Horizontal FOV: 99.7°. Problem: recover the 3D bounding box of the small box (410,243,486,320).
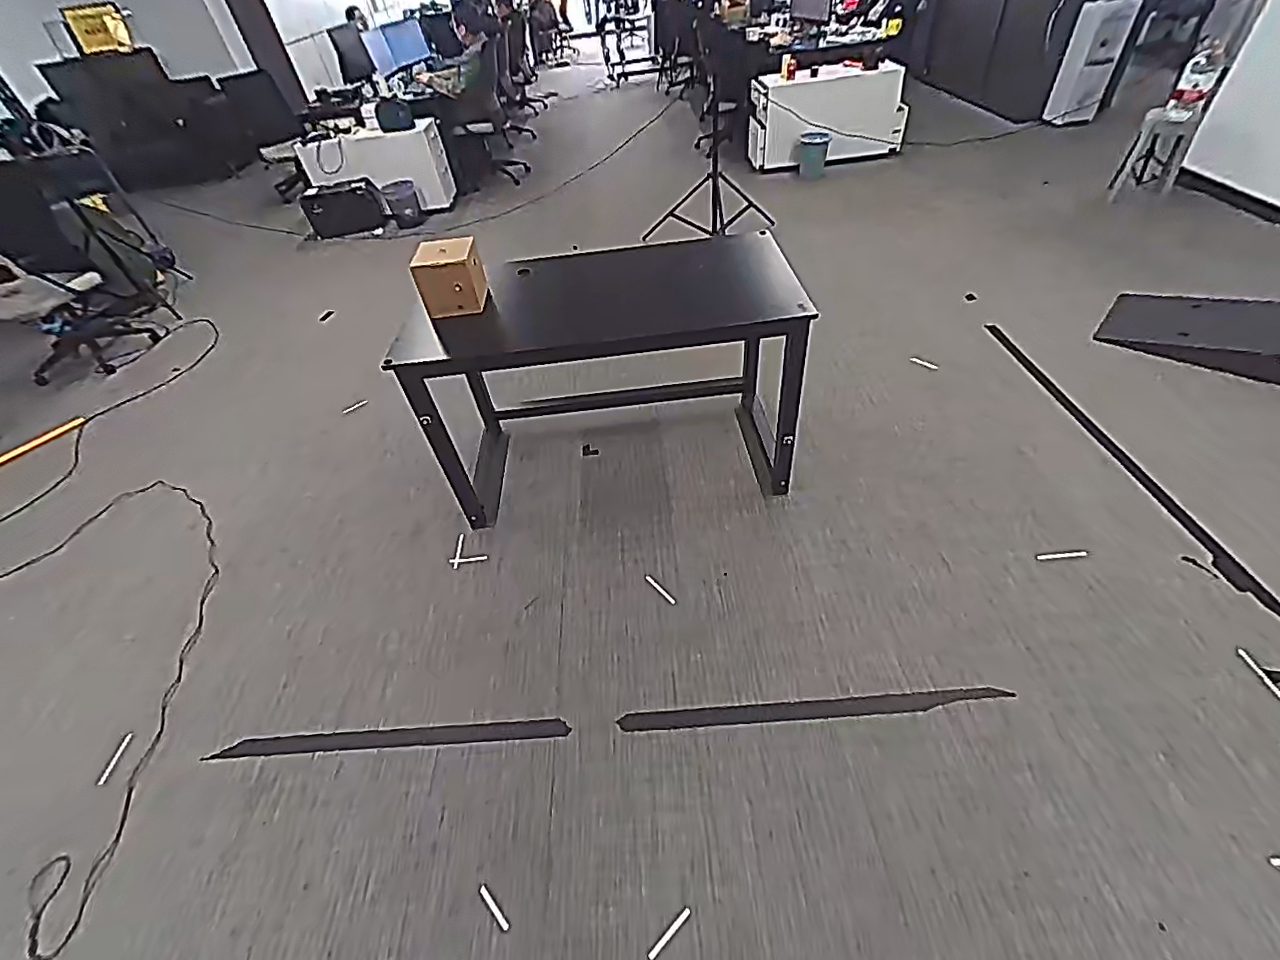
[{"bbox_3d":[-0.585,-0.608,1.673,0.168,0.176,0.179,-6,44,-1],"label":"small box"}]
